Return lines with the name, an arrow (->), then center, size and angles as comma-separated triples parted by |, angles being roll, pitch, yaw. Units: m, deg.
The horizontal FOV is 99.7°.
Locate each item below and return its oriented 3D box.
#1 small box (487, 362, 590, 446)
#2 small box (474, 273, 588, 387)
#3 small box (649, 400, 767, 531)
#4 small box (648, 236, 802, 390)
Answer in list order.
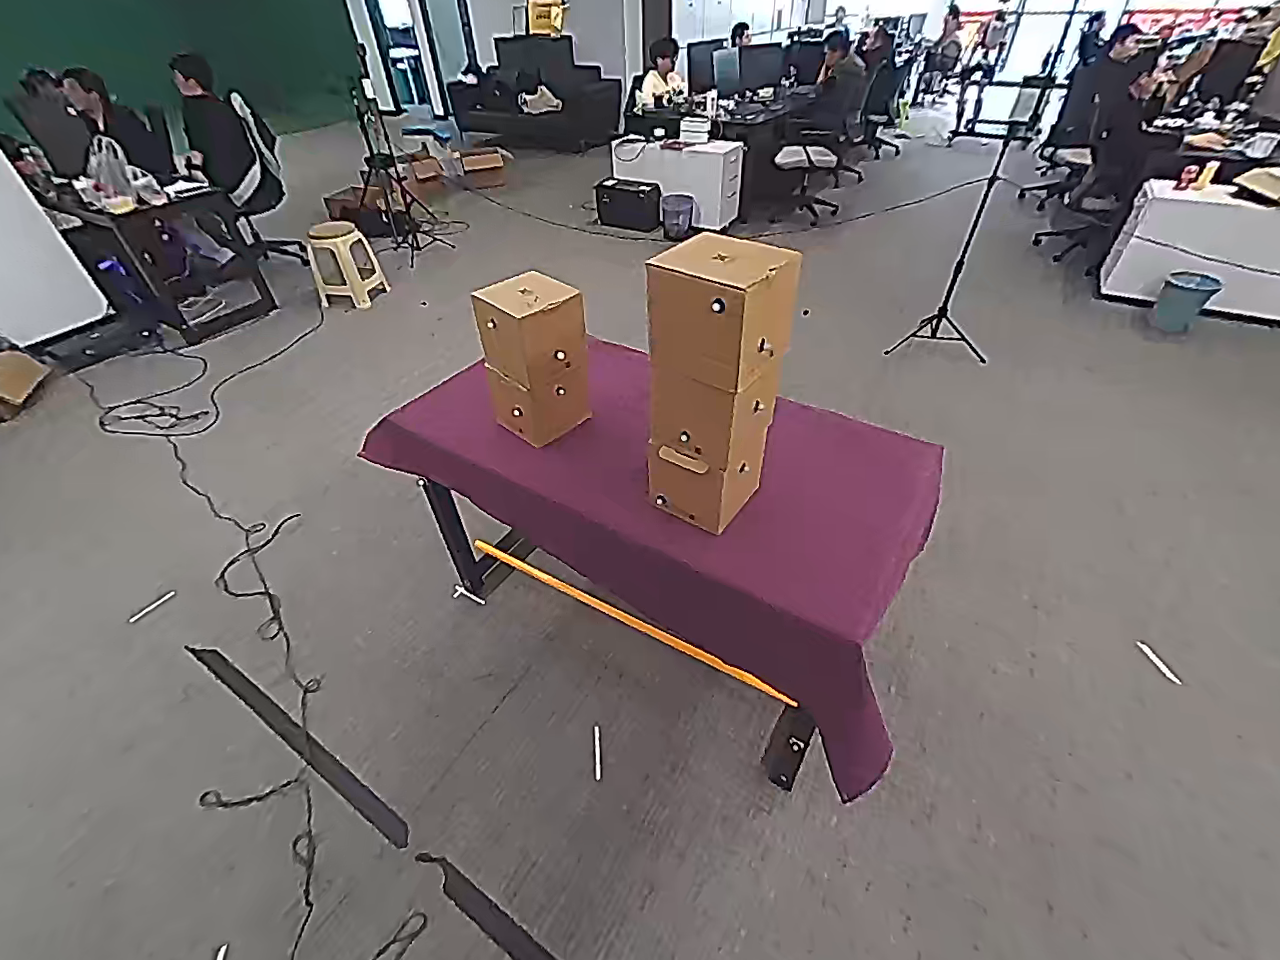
small box -> -0.235, -0.208, 1.297 | 0.168, 0.176, 0.179 | 33, 52, 31
small box -> -0.233, -0.328, 1.185 | 0.168, 0.176, 0.179 | -35, 53, -30
small box -> 0.134, -0.028, 1.080 | 0.168, 0.176, 0.179 | 25, 47, 27
small box -> 0.128, -0.265, 0.857 | 0.179, 0.176, 0.168 | 28, 50, 28
